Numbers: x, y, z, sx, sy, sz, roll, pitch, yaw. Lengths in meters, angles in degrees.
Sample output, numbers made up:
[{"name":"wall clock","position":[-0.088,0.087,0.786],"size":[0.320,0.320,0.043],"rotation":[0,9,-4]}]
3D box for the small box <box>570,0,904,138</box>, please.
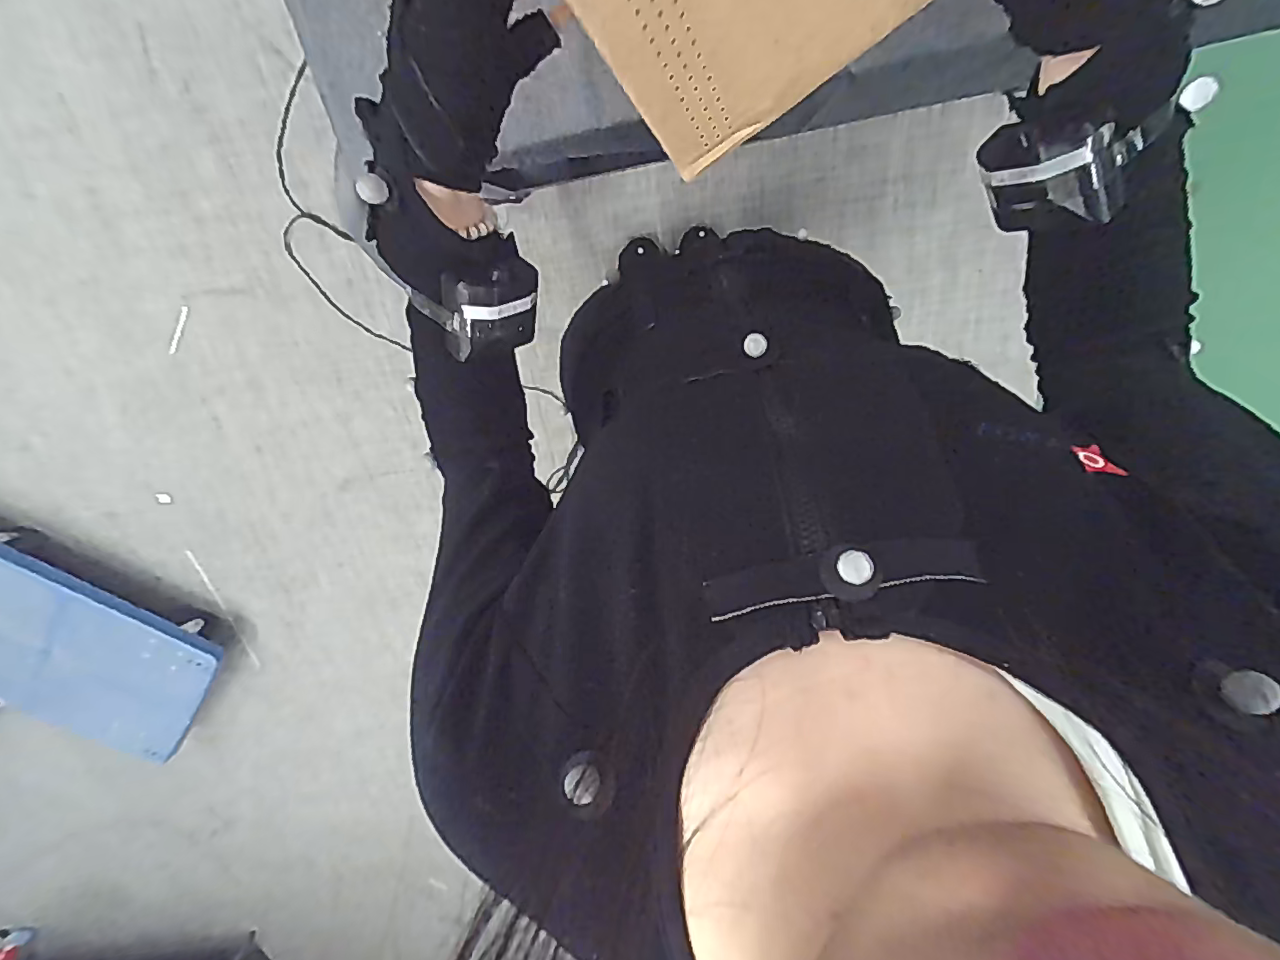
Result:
[{"name":"small box","position":[0.023,-0.269,0.192],"size":[0.176,0.179,0.168],"rotation":[-27,78,23]}]
